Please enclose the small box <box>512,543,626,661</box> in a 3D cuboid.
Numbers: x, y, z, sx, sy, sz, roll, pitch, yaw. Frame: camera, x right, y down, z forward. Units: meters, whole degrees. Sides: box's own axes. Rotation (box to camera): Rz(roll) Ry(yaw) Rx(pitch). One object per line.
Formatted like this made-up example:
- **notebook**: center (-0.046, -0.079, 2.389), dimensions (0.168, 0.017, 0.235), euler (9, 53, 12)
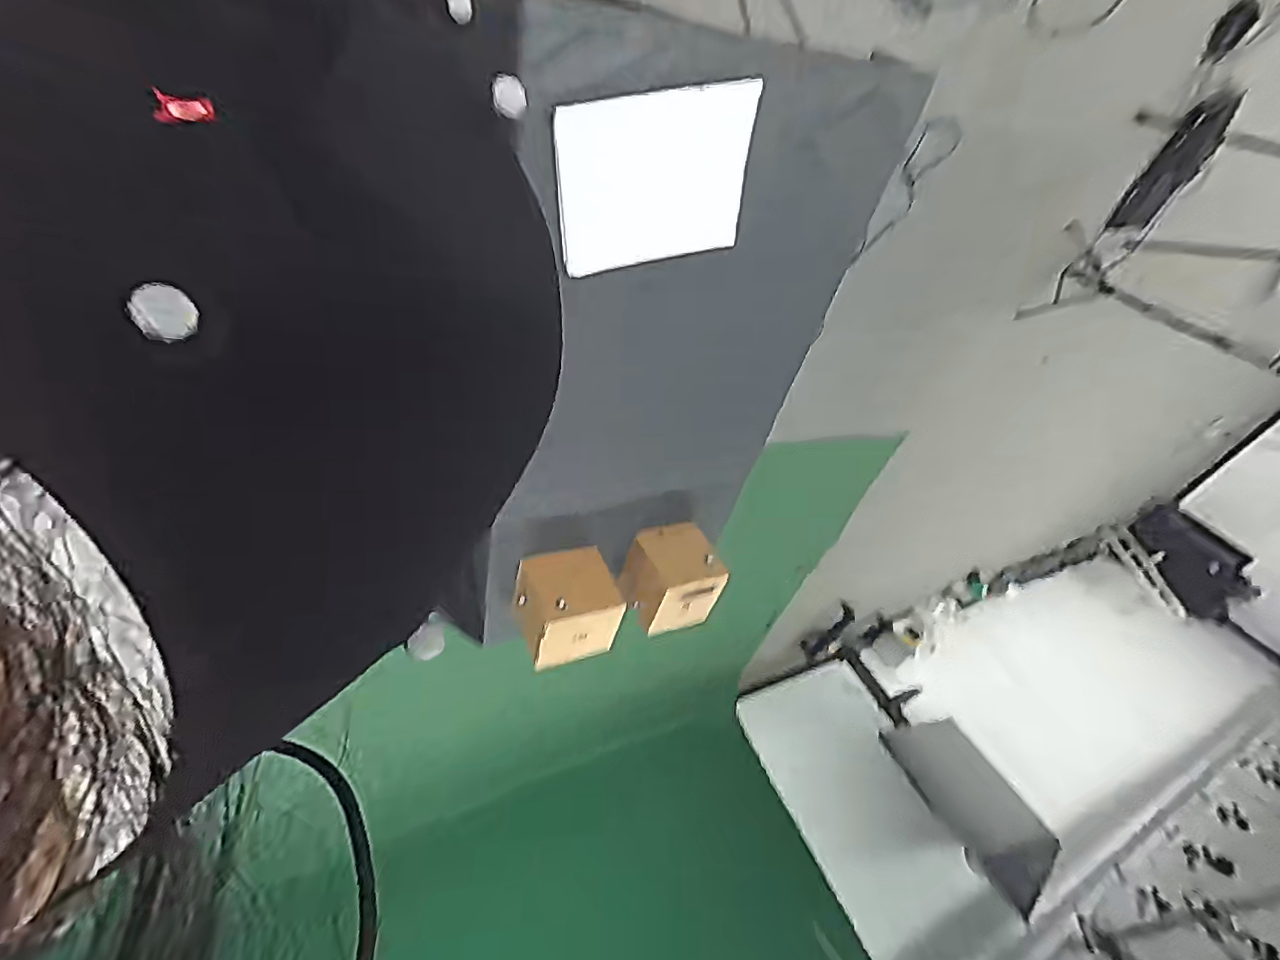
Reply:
- **small box**: center (-0.159, 0.255, 1.163), dimensions (0.179, 0.176, 0.168), euler (-7, 136, -30)
